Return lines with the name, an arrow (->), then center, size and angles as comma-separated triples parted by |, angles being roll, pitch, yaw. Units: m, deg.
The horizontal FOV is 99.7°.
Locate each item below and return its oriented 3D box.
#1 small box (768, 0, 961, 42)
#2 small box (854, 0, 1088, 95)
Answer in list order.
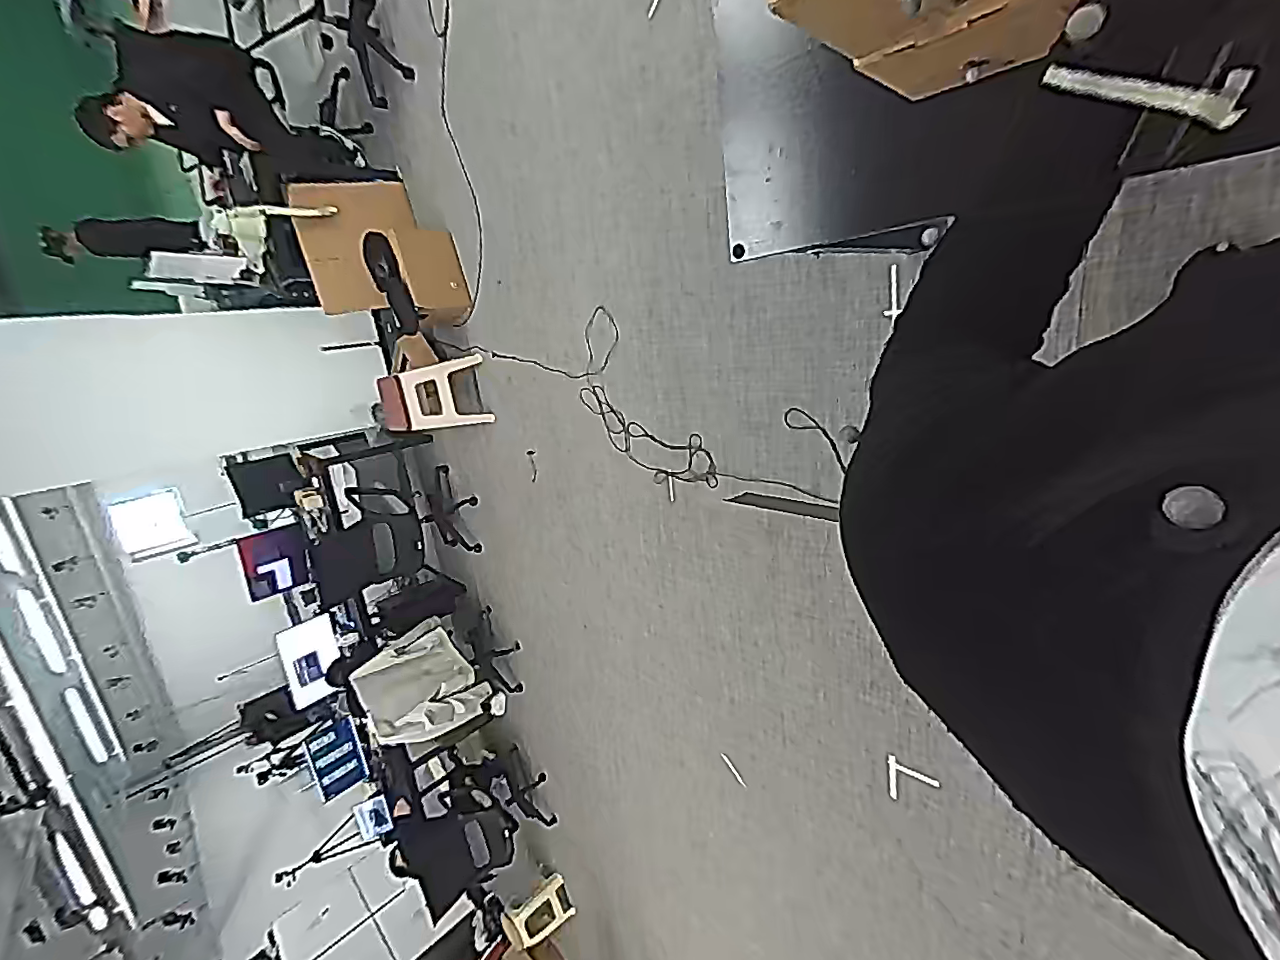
small box -> 0.207, -0.479, 0.416 | 0.168, 0.176, 0.179 | 7, 111, 45
small box -> 0.325, -0.514, 0.524 | 0.168, 0.176, 0.179 | 11, 114, 45
